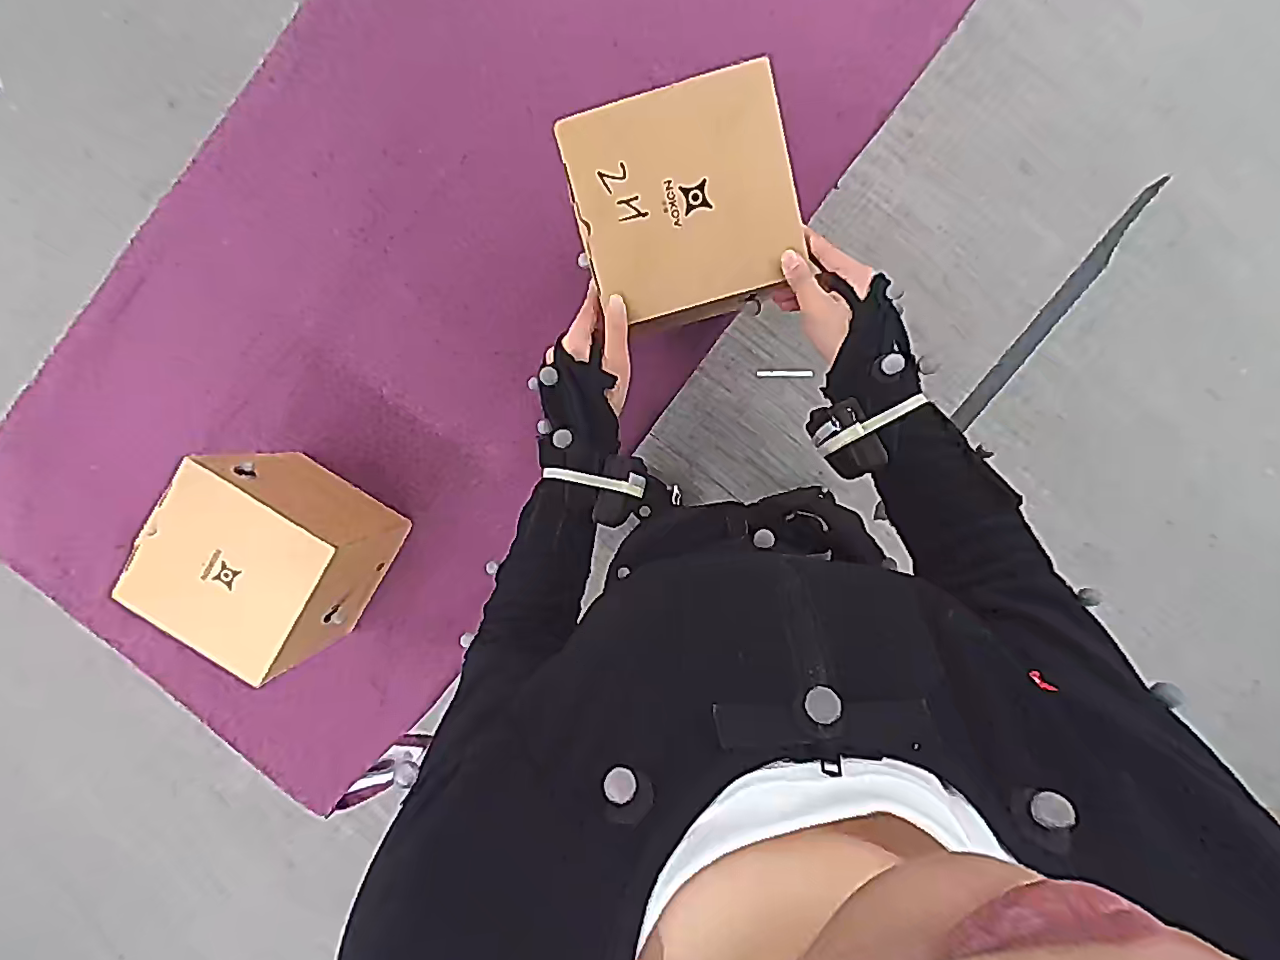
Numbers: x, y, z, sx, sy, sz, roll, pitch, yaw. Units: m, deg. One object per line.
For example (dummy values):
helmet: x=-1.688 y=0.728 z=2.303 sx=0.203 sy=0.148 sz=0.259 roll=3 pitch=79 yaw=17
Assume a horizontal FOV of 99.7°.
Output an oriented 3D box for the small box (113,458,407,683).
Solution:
small box: x=-0.400 y=0.083 z=0.604 sx=0.179 sy=0.176 sz=0.168 roll=31 pitch=94 yaw=1

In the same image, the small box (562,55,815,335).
small box: x=0.041 y=-0.242 z=0.508 sx=0.179 sy=0.176 sz=0.168 roll=-14 pitch=100 yaw=4
